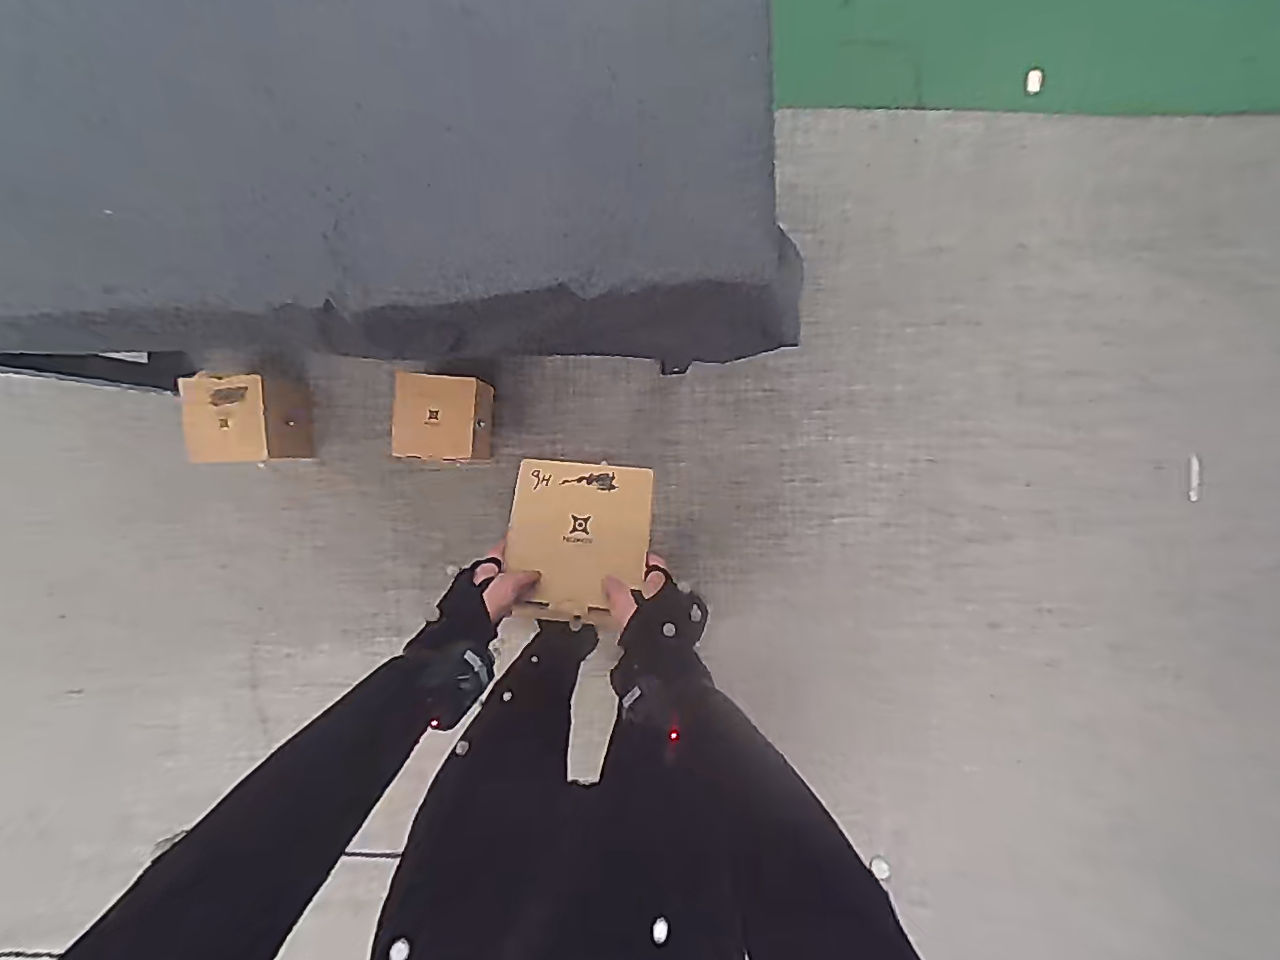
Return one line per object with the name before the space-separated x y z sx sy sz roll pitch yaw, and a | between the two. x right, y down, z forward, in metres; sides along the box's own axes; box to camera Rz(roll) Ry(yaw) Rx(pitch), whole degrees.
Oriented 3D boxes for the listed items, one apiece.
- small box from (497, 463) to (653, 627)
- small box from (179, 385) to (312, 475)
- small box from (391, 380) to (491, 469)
small box | -0.071 0.093 0.699 0.168 0.176 0.179 4 71 2
small box | -0.842 -0.103 1.169 0.168 0.176 0.179 -4 93 -1
small box | -0.428 -0.116 1.186 0.168 0.176 0.179 2 91 -3
